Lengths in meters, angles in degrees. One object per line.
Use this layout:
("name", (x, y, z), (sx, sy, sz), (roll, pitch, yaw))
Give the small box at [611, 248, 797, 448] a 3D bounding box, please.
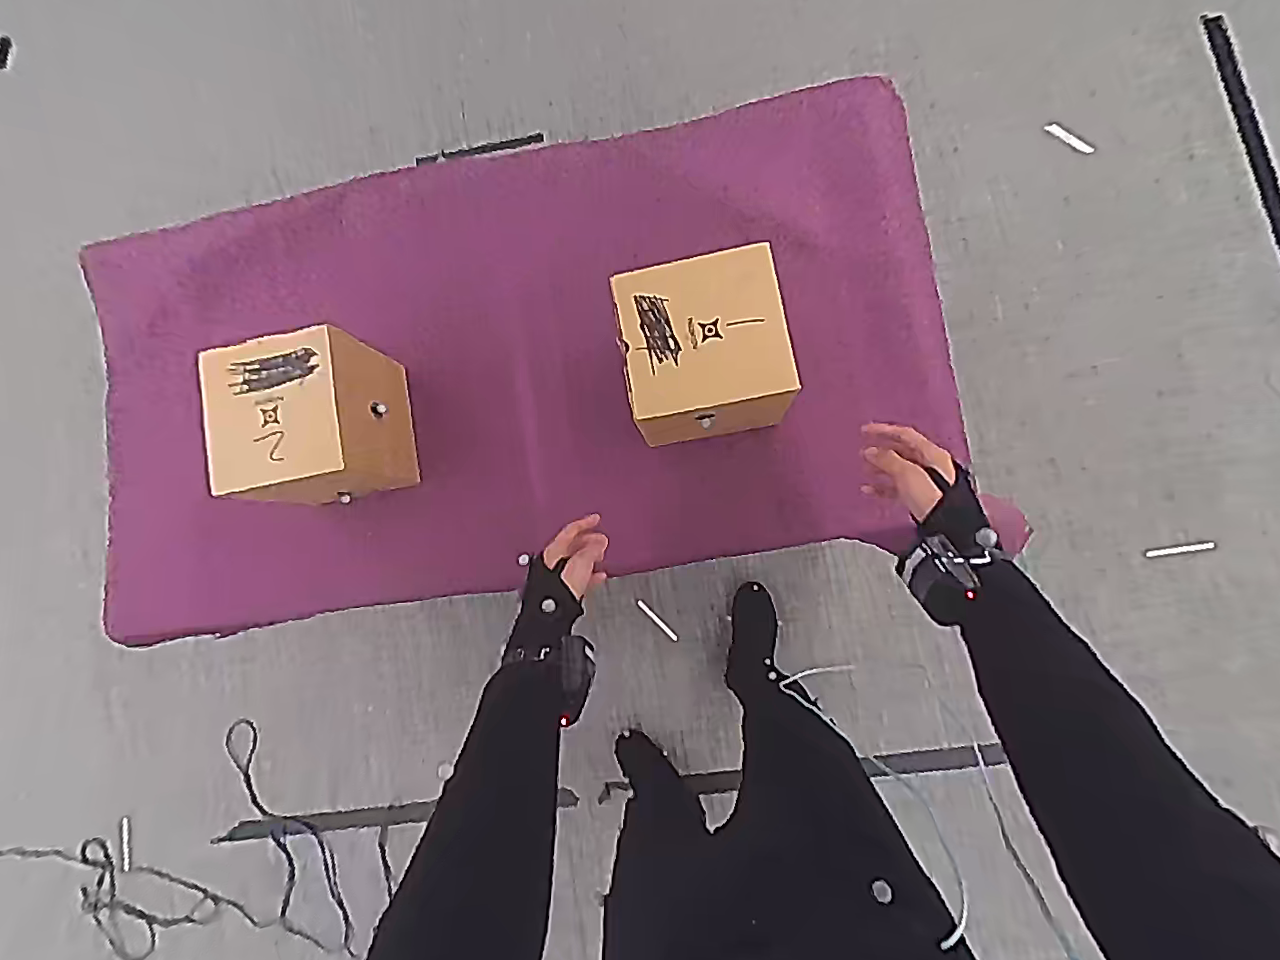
("small box", (0.074, -0.142, 0.647), (0.179, 0.176, 0.168), (-10, 83, 5))
